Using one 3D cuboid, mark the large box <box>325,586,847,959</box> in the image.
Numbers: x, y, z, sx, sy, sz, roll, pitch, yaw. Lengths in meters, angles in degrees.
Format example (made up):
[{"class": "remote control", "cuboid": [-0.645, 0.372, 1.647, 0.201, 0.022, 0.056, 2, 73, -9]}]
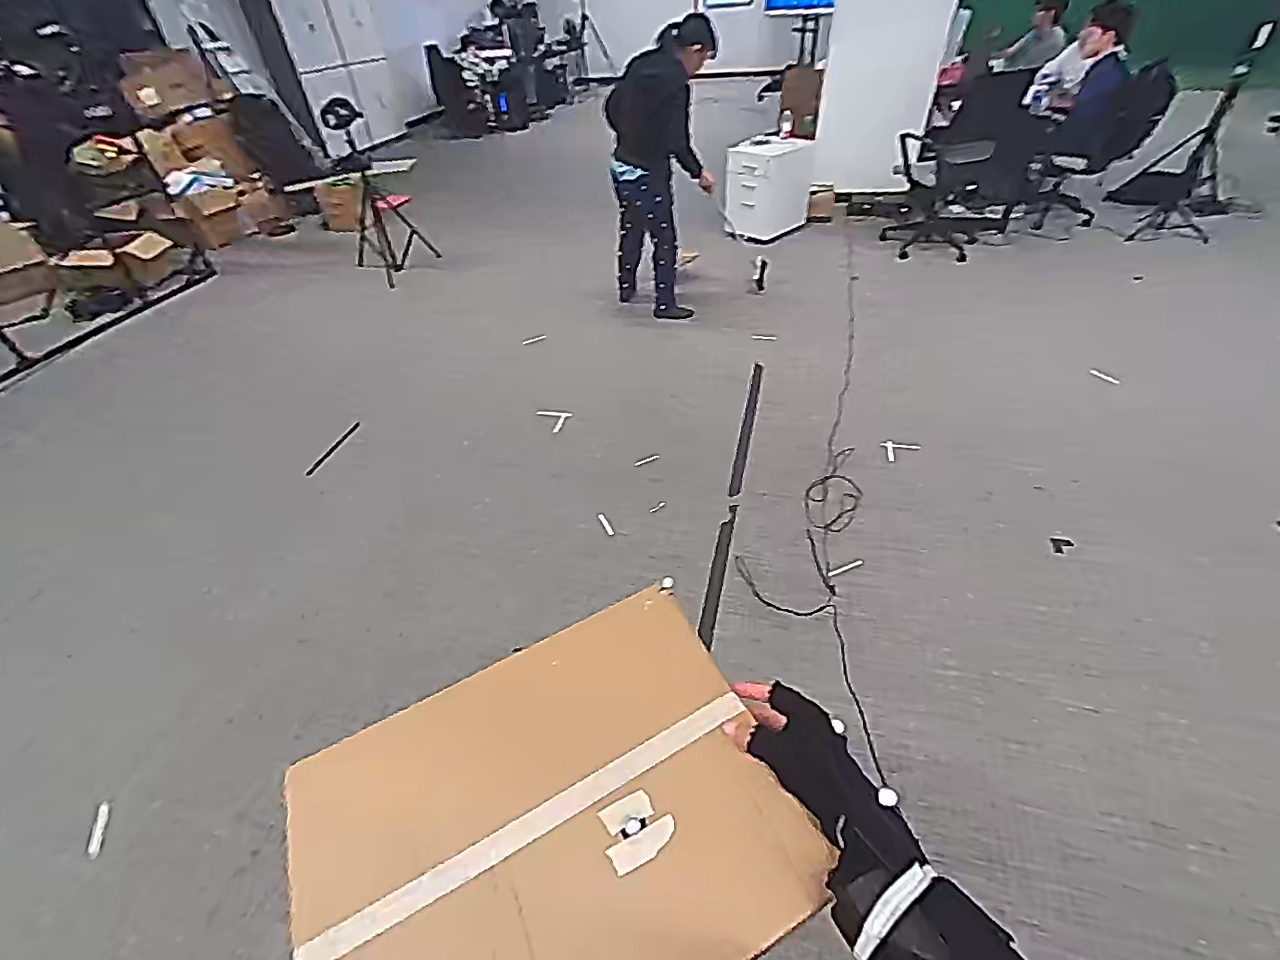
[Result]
[{"class": "large box", "cuboid": [-0.057, 0.395, 0.594, 0.408, 0.320, 0.320, -23, 49, -14]}]
